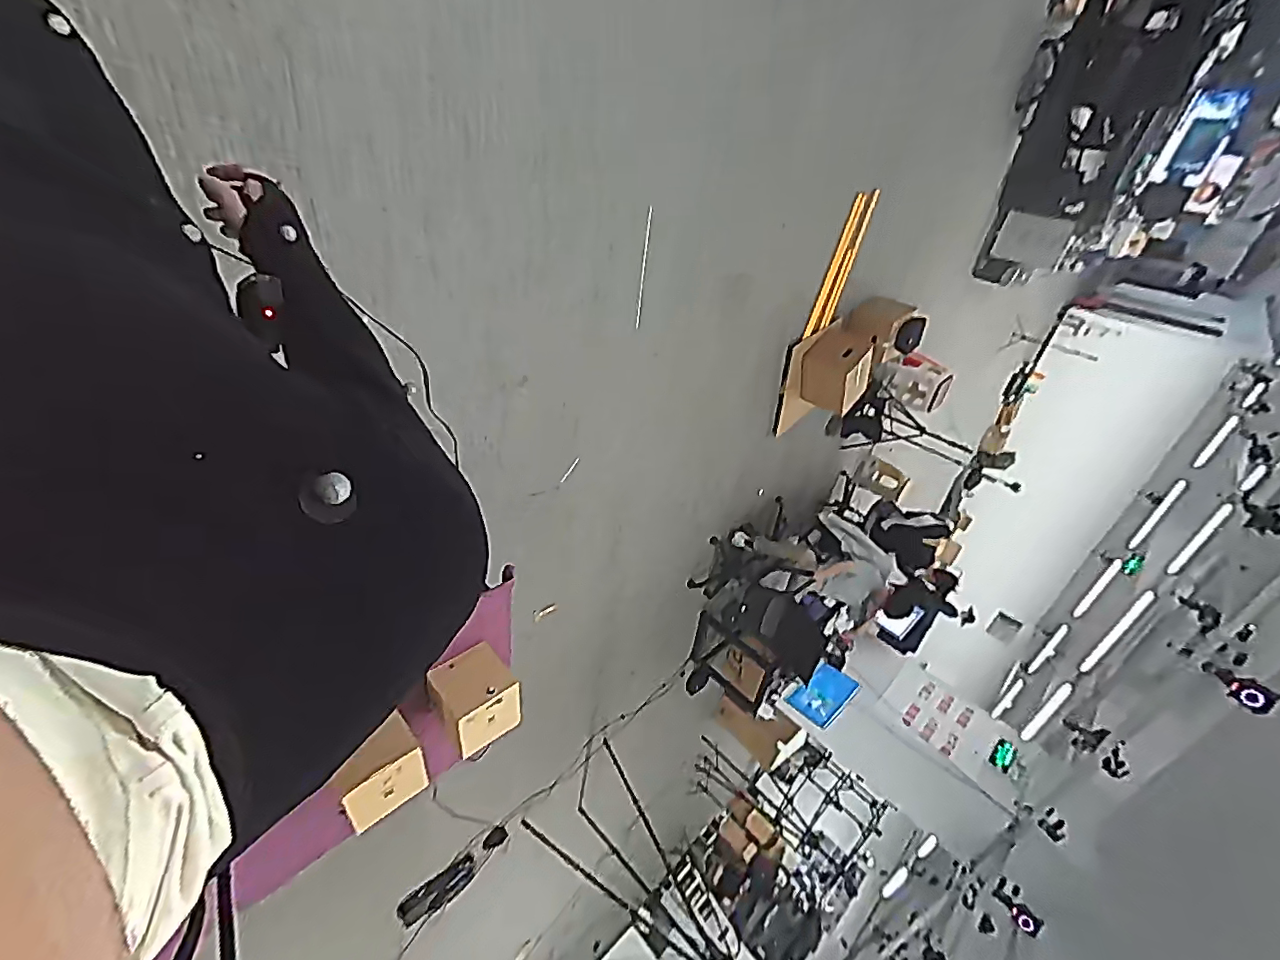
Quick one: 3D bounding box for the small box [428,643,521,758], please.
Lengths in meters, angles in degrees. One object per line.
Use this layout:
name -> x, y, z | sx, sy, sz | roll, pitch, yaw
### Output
small box -> -0.421, 0.557, 1.381 | 0.168, 0.176, 0.179 | -25, 136, -38

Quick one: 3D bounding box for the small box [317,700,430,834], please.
small box -> -0.601, 0.642, 1.226 | 0.168, 0.176, 0.179 | -26, 136, -38
